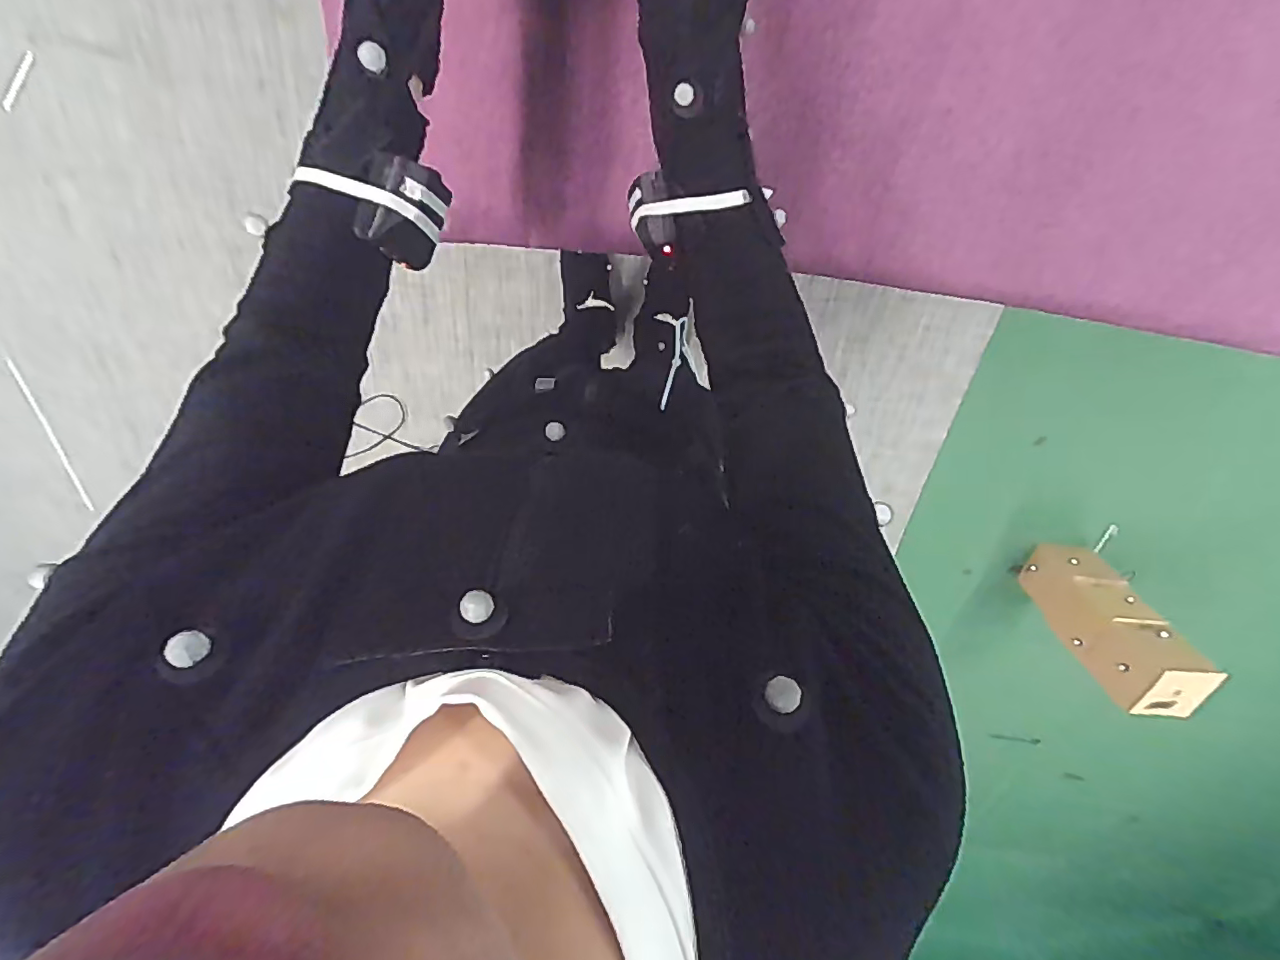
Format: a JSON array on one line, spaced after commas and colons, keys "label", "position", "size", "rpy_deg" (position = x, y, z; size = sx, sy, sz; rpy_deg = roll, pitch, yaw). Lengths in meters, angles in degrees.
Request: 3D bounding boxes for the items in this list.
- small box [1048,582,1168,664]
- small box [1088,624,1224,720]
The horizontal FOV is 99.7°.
[{"label": "small box", "position": [1.354, 0.418, 1.582], "size": [0.168, 0.176, 0.179], "rpy_deg": [5, 122, -3]}, {"label": "small box", "position": [1.362, 0.512, 1.447], "size": [0.168, 0.176, 0.179], "rpy_deg": [4, 122, -3]}]
